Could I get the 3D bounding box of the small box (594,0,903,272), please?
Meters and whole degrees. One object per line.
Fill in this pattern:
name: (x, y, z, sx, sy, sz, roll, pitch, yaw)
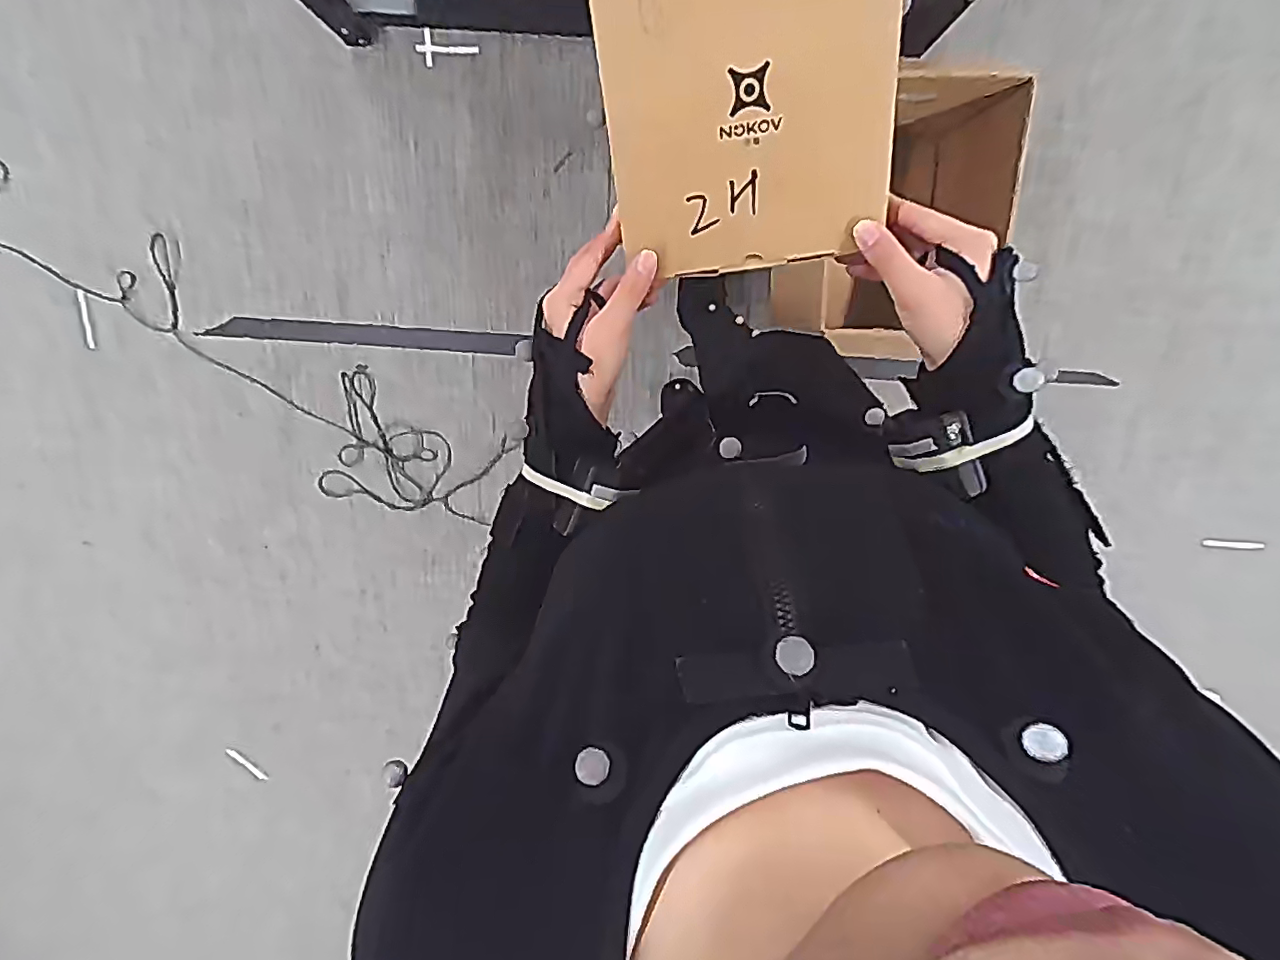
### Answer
small box: (0.065, -0.254, 0.377, 0.168, 0.176, 0.179, -5, 117, 7)
